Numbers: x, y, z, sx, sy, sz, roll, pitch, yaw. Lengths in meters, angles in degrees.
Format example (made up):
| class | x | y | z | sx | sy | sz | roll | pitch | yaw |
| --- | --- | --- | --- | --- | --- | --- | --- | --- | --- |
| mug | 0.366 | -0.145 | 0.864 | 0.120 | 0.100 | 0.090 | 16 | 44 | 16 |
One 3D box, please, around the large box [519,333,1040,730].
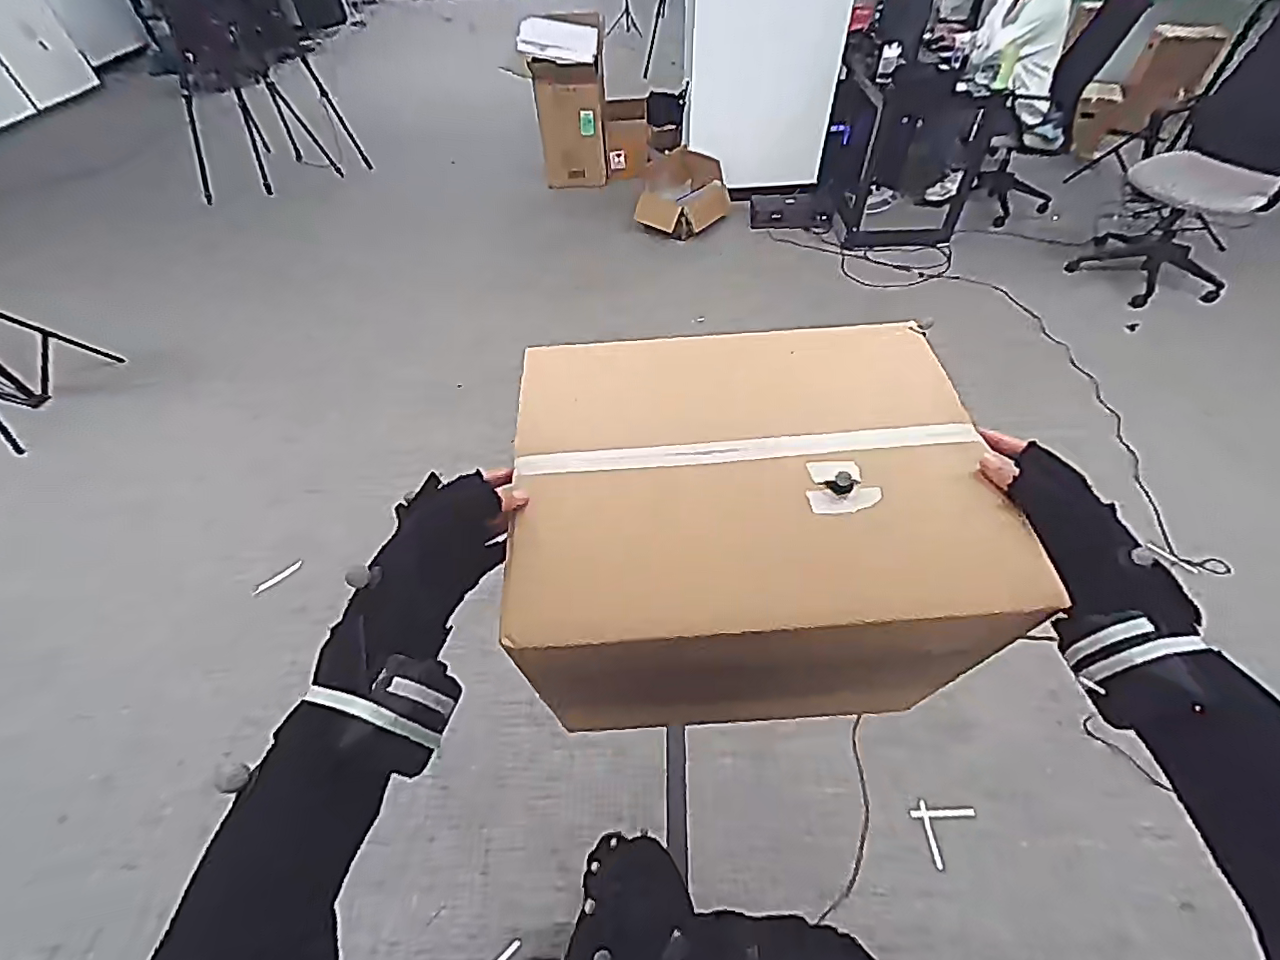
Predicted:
| class | x | y | z | sx | sy | sz | roll | pitch | yaw |
| --- | --- | --- | --- | --- | --- | --- | --- | --- | --- |
| large box | 0.098 | 0.069 | 0.607 | 0.408 | 0.320 | 0.320 | -4 | 55 | -1 |
